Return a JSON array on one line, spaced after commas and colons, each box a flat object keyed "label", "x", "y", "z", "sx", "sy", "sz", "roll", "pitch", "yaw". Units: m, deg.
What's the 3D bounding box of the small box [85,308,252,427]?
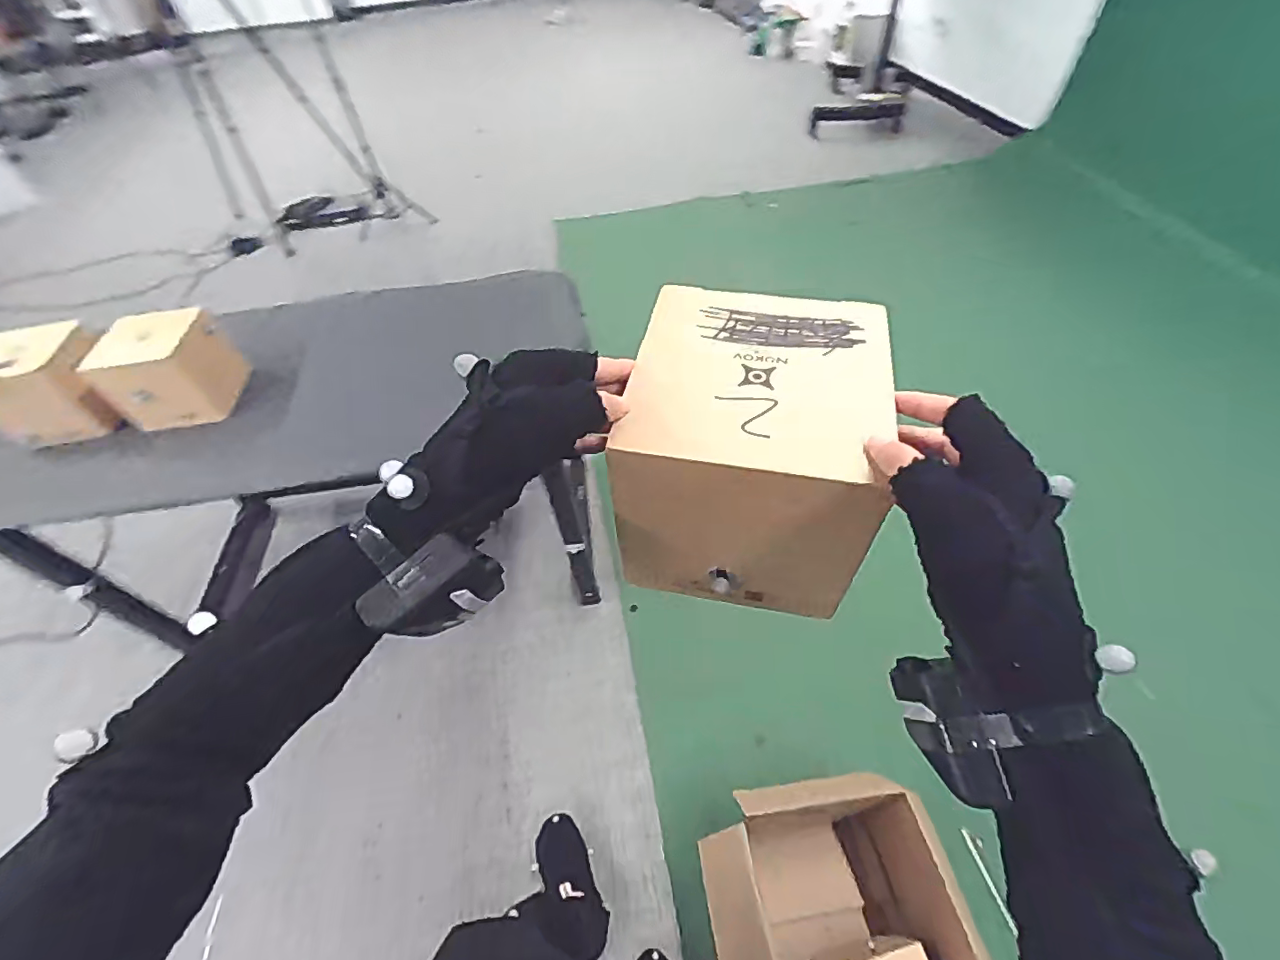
[{"label": "small box", "x": -0.944, "y": -0.223, "z": 1.107, "sx": 0.168, "sy": 0.176, "sz": 0.179, "roll": -9, "pitch": 49, "yaw": -3}]

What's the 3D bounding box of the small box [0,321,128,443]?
[{"label": "small box", "x": -1.178, "y": -0.191, "z": 1.096, "sx": 0.168, "sy": 0.176, "sz": 0.179, "roll": -11, "pitch": 49, "yaw": -5}]
